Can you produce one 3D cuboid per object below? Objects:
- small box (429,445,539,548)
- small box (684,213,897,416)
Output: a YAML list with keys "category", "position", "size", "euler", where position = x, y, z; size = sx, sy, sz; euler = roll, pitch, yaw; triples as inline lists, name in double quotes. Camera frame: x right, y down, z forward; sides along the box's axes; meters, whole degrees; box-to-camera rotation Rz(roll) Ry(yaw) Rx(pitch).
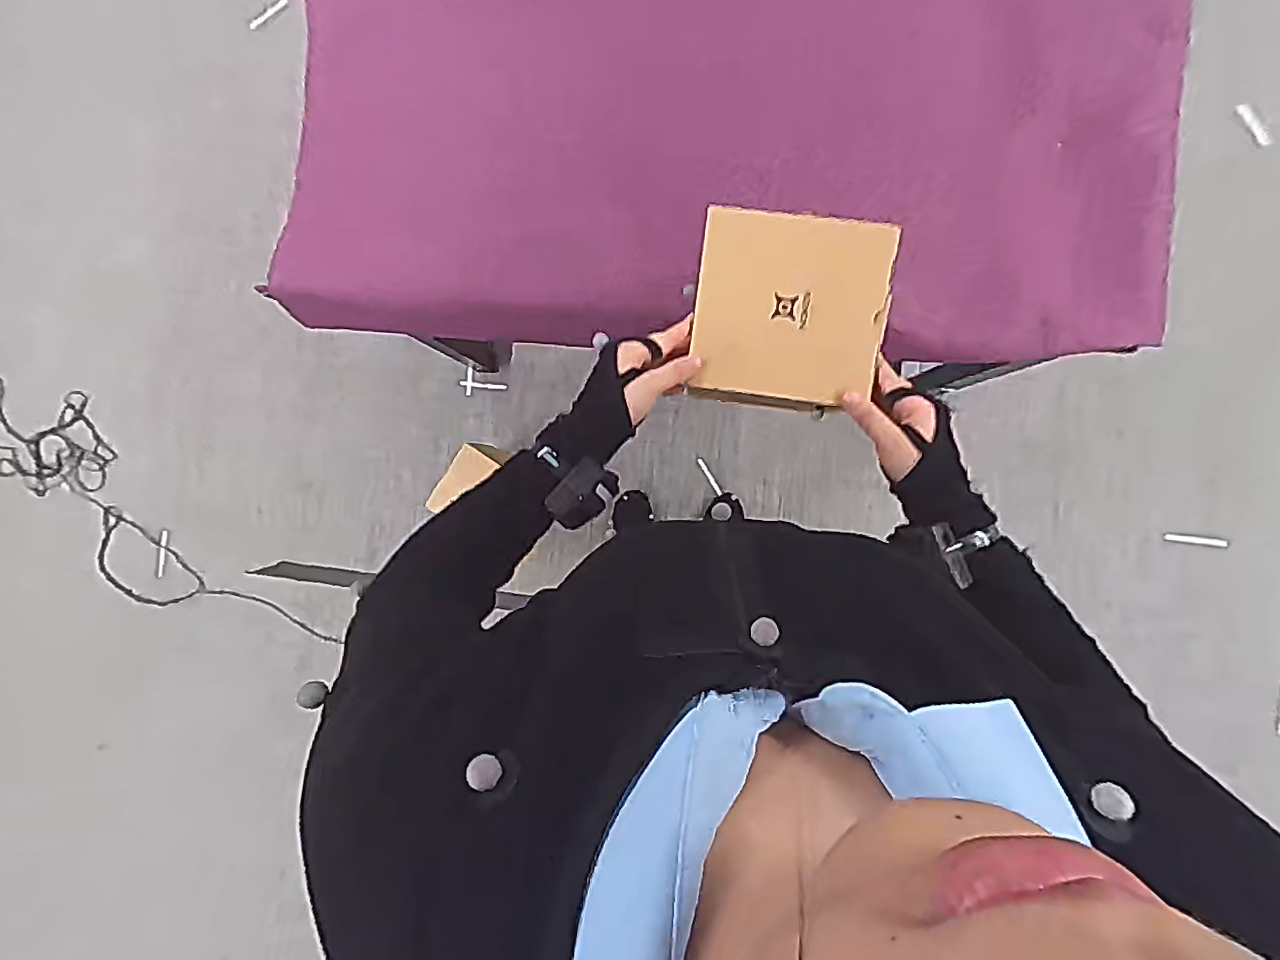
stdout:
- category: "small box"
  position: [-0.357, 0.034, 1.286]
  size: [0.168, 0.176, 0.179]
  euler: [34, 93, 3]
- category: "small box"
  position: [0.143, -0.161, 0.579]
  size: [0.179, 0.176, 0.168]
  euler: [7, 95, 3]
